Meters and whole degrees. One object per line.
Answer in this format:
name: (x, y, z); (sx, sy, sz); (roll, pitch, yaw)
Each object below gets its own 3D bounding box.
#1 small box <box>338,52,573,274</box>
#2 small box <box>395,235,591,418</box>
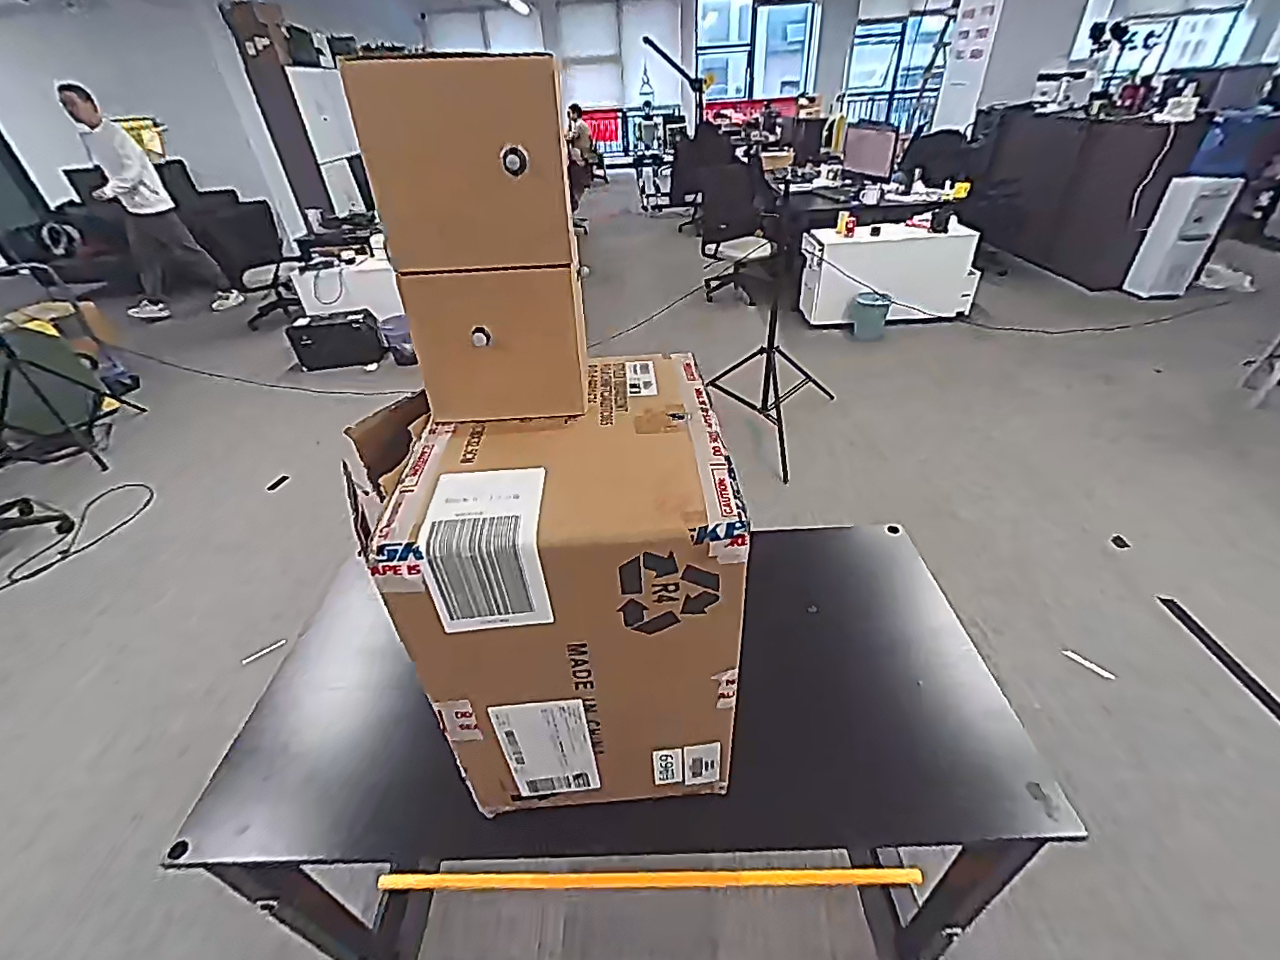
small box: (-0.160, -0.315, 0.546); (0.179, 0.176, 0.168); (-6, 33, -4)
small box: (-0.156, -0.182, 0.641); (0.179, 0.176, 0.168); (-4, 34, -2)
